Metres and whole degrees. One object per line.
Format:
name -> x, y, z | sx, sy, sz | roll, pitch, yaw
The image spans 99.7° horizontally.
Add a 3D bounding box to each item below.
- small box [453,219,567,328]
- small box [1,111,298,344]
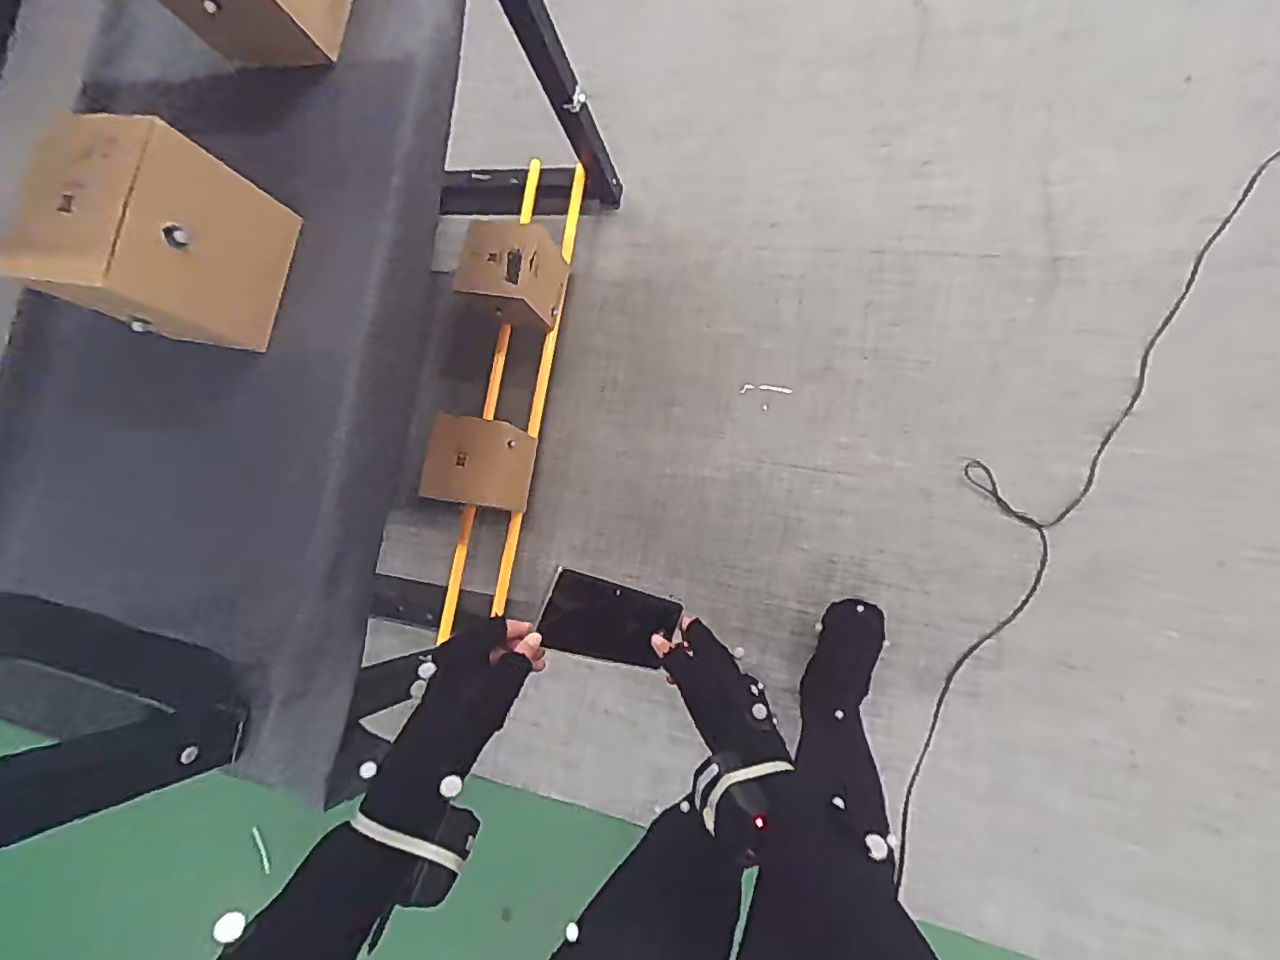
small box -> -0.284, -0.457, 1.216 | 0.179, 0.176, 0.168 | 11, 85, 15
small box -> -0.524, -0.267, 0.600 | 0.168, 0.176, 0.179 | 11, 85, 15
